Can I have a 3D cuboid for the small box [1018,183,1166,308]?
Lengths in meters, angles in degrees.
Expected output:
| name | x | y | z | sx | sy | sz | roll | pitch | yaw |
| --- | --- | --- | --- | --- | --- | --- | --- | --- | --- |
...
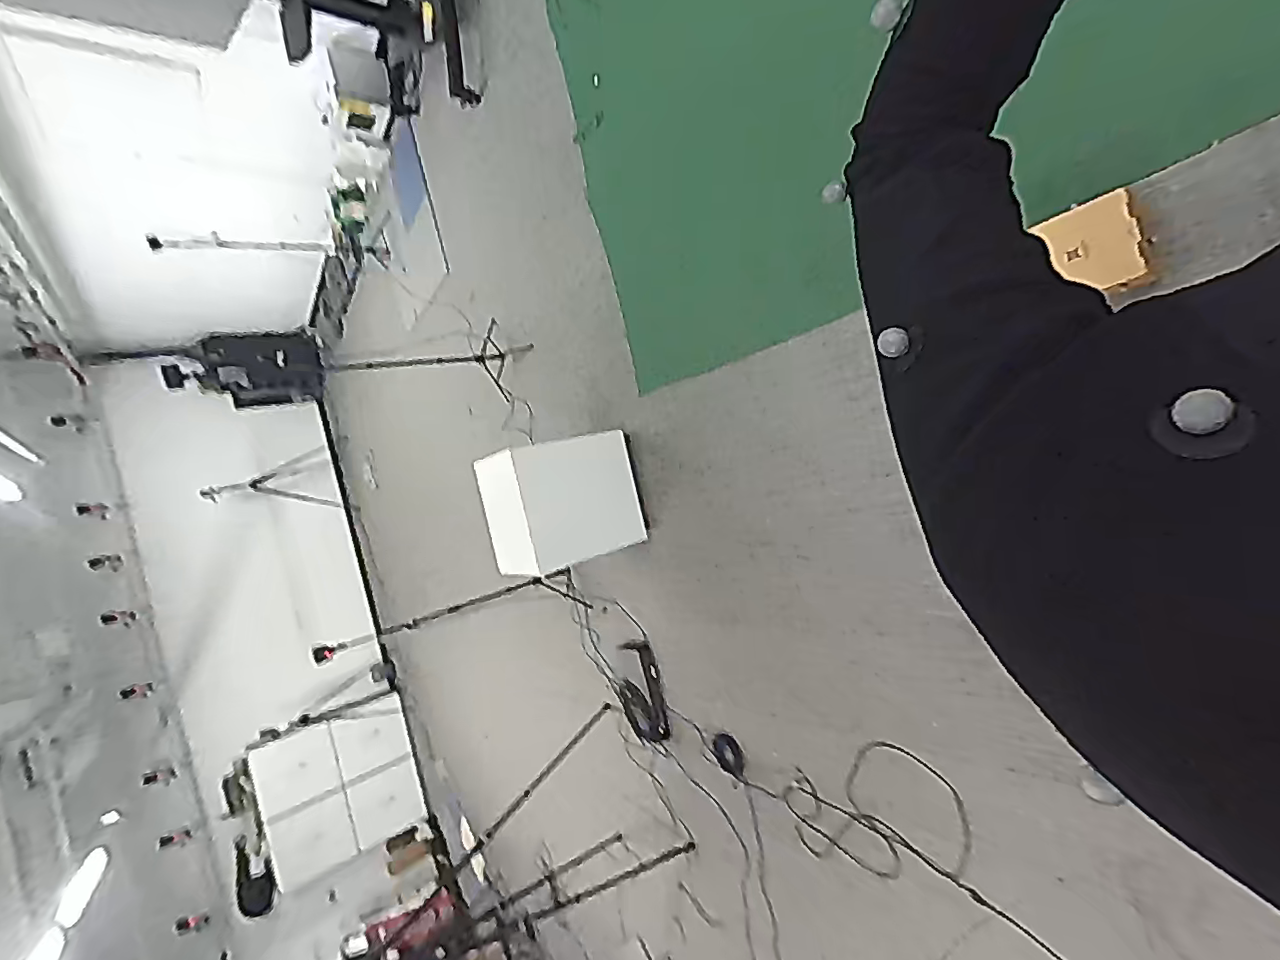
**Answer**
| name | x | y | z | sx | sy | sz | roll | pitch | yaw |
| --- | --- | --- | --- | --- | --- | --- | --- | --- | --- |
| small box | 0.899 | -0.453 | 1.077 | 0.179 | 0.176 | 0.168 | -16 | 89 | 52 |
